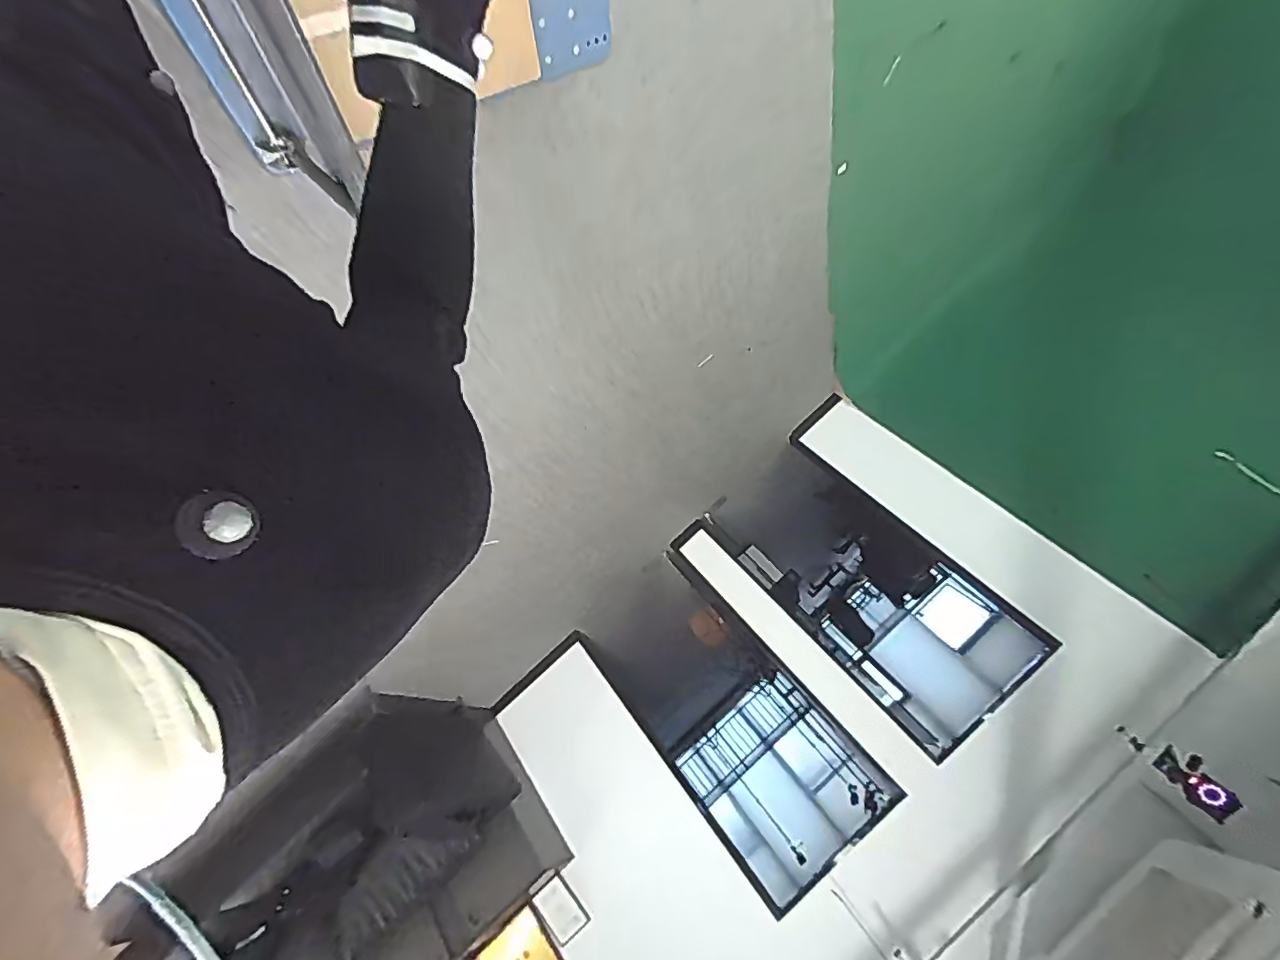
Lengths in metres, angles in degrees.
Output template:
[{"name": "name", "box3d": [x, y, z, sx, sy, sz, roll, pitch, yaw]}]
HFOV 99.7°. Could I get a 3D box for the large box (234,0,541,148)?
[{"name": "large box", "box3d": [-0.442, -0.826, 0.901, 0.408, 0.320, 0.320, -34, 149, -19]}]
